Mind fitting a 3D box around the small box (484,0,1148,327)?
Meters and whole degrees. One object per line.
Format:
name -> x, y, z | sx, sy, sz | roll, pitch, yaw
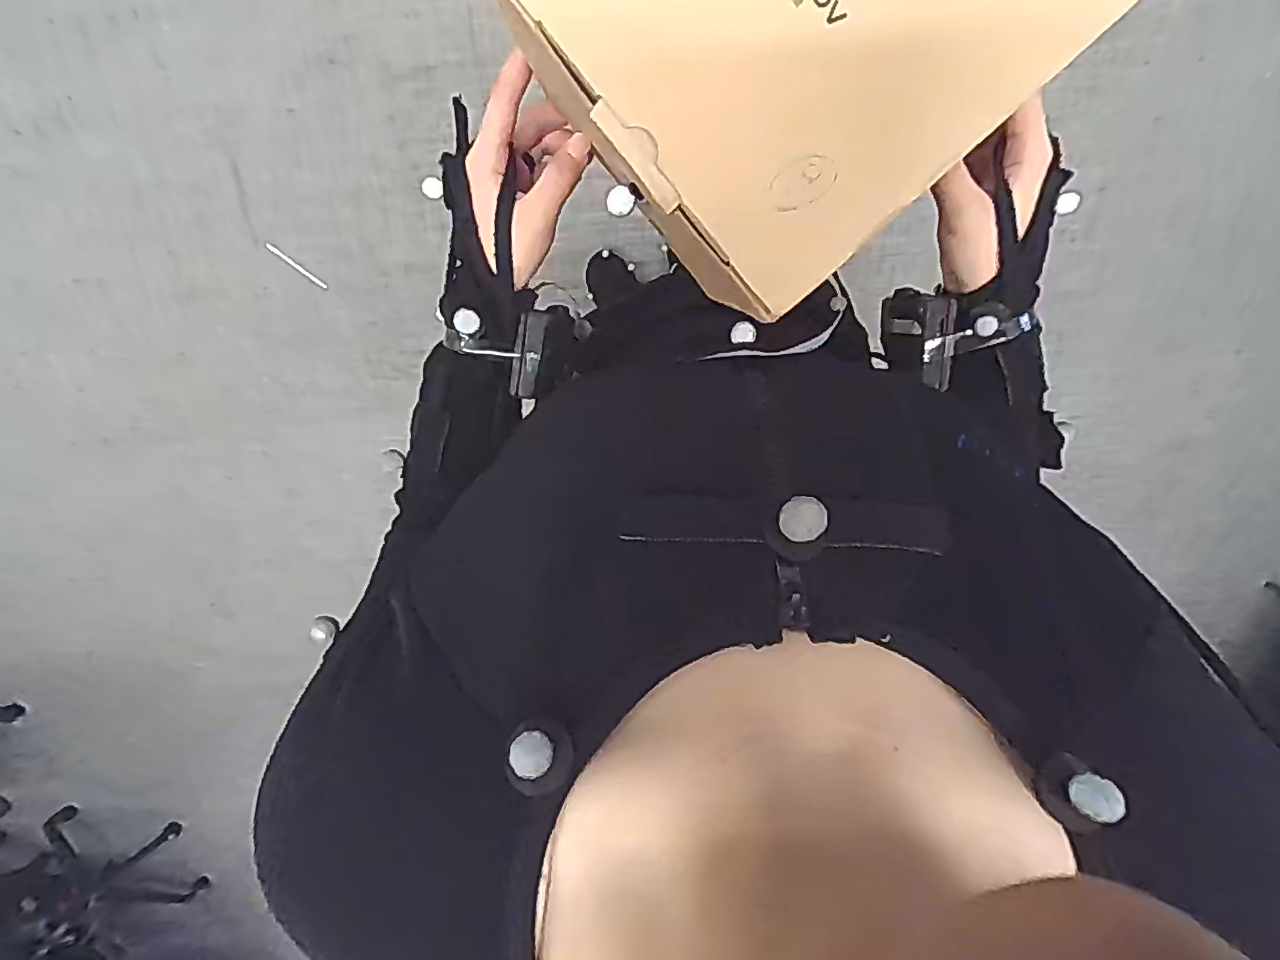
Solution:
small box -> 0.060, -0.199, 0.257 | 0.179, 0.176, 0.168 | -40, 106, 14
